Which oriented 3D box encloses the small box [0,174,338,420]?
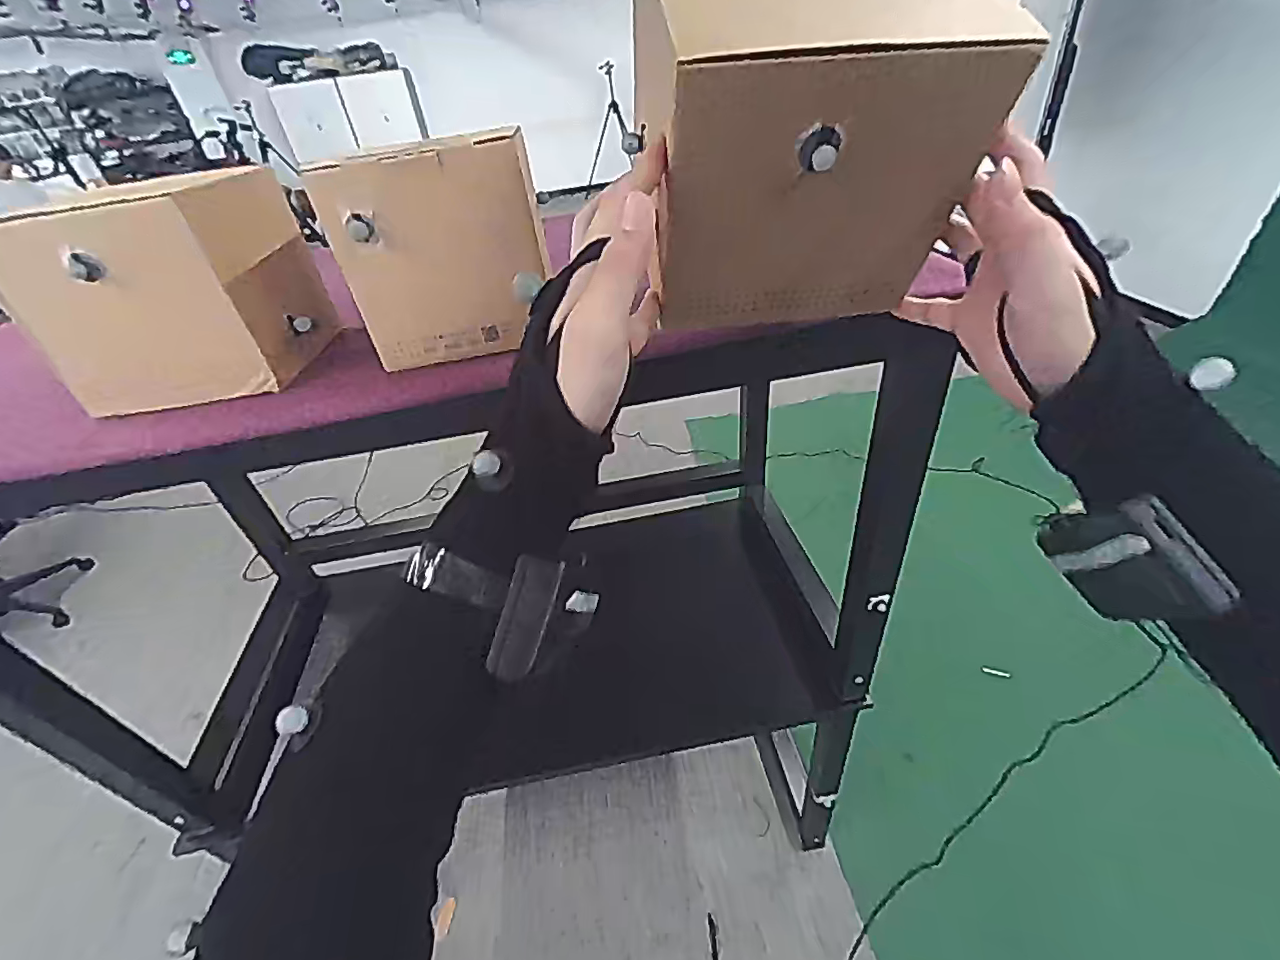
[{"bbox_3d":[-0.427,-0.170,0.504,0.179,0.176,0.168,-9,37,-1],"label":"small box"}]

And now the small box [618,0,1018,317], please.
[{"bbox_3d":[0.081,-0.226,0.352,0.179,0.176,0.168,-7,62,-4],"label":"small box"}]
